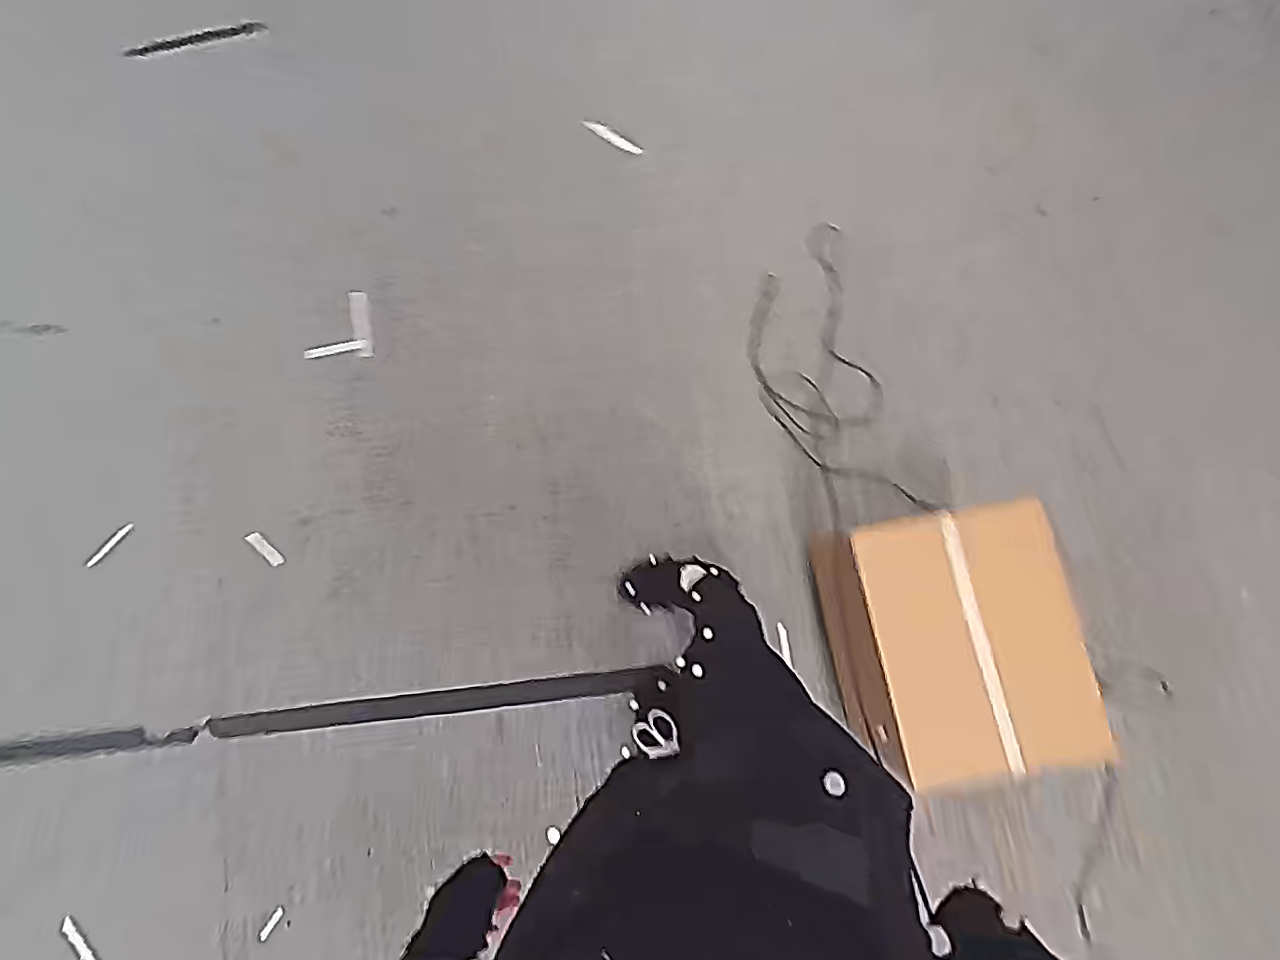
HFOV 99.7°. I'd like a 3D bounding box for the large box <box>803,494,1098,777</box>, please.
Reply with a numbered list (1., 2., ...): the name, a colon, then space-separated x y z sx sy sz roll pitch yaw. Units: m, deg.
1. large box: 0.534 0.267 1.019 0.320 0.320 0.408 -12 81 1
